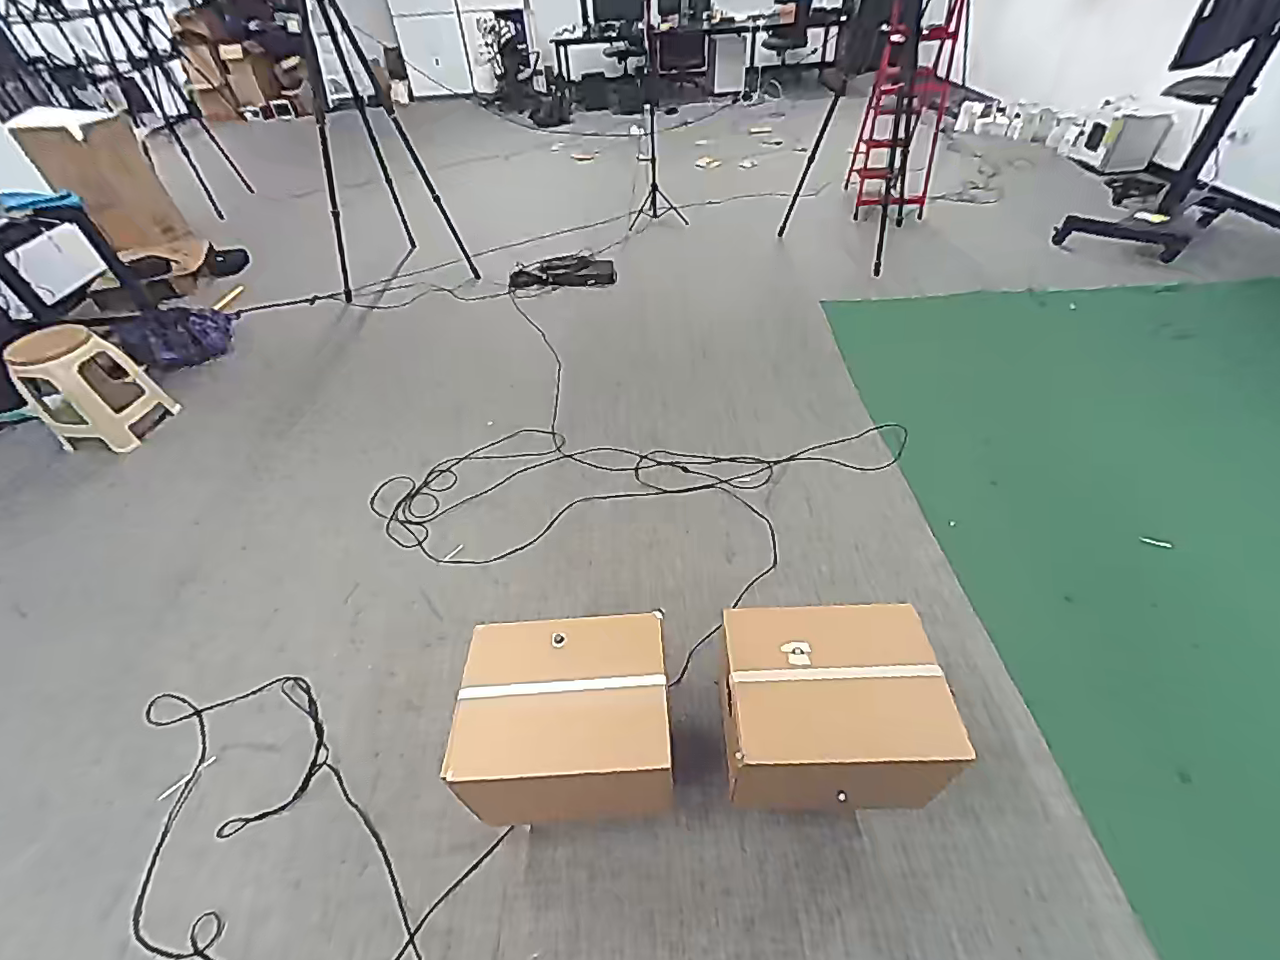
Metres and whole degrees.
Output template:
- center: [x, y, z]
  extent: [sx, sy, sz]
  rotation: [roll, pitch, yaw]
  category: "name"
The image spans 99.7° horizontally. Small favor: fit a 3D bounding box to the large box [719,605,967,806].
- center: [0.390, 0.491, 1.166]
  extent: [0.408, 0.320, 0.320]
  rotation: [-2, 45, 3]
  category: "large box"
